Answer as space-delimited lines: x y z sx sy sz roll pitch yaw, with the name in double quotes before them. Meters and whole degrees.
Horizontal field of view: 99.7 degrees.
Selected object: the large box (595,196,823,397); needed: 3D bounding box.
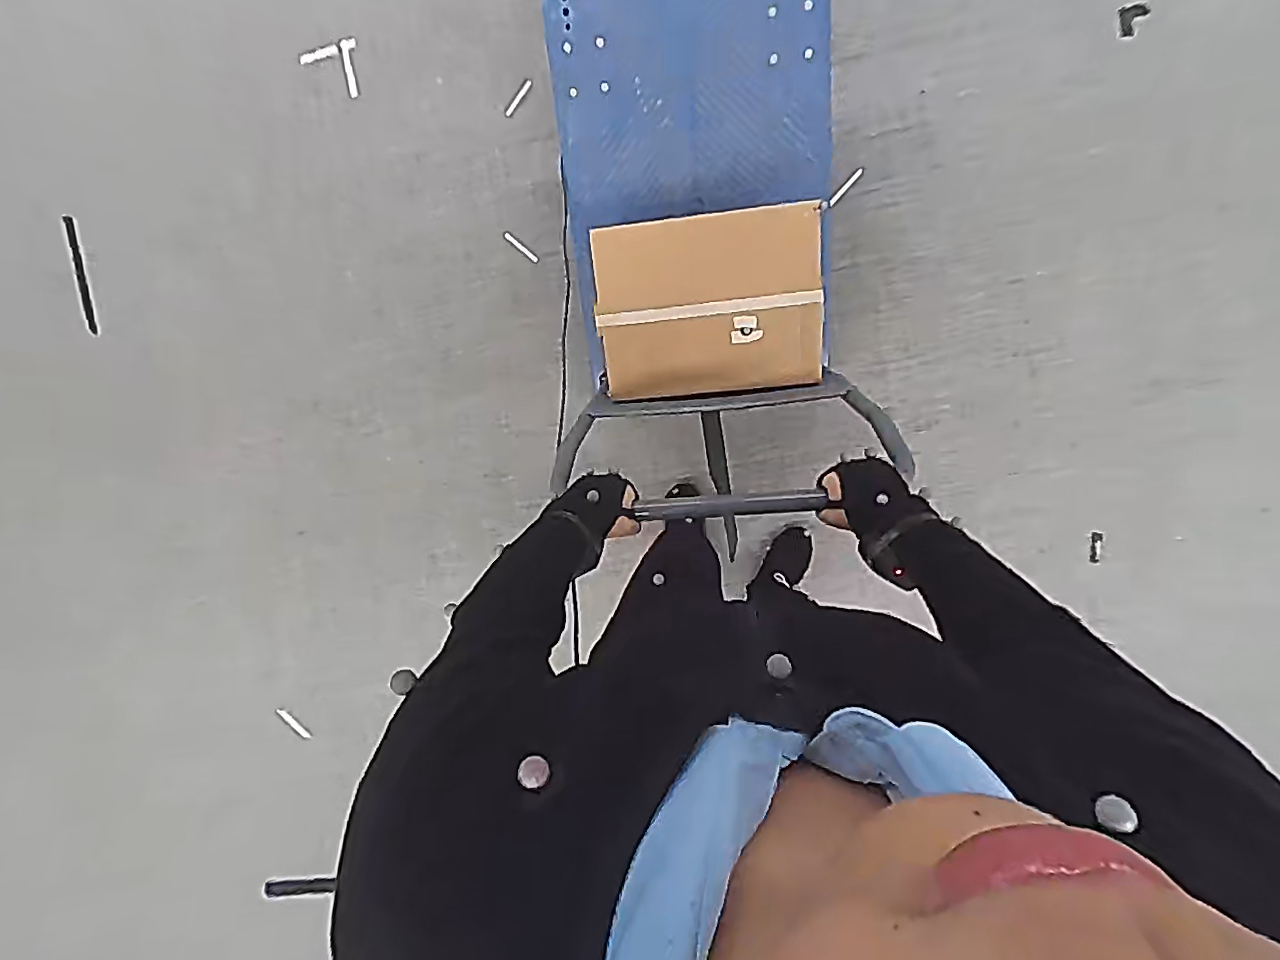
"large box" 0.142 -0.373 1.144 0.408 0.320 0.320 -5 108 6
